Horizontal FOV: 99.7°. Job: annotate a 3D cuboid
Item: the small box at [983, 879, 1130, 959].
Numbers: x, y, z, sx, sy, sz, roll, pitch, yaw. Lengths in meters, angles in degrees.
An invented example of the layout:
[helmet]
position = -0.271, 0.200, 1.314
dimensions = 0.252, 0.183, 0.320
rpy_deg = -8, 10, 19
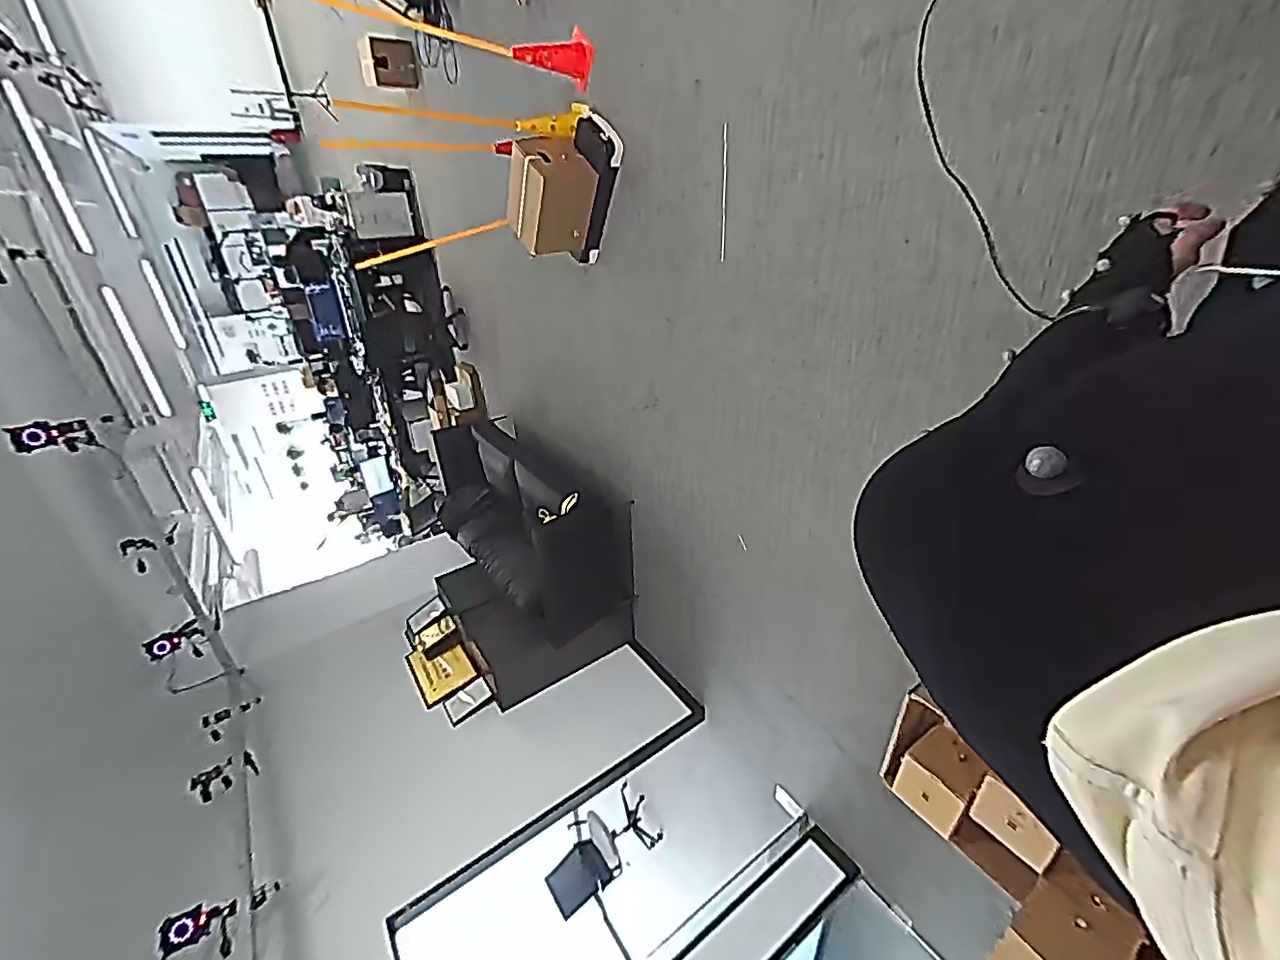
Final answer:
[small box]
position = 0.894, 1.012, 1.166
dimensions = 0.179, 0.176, 0.168
rpy_deg = 35, 136, 46
